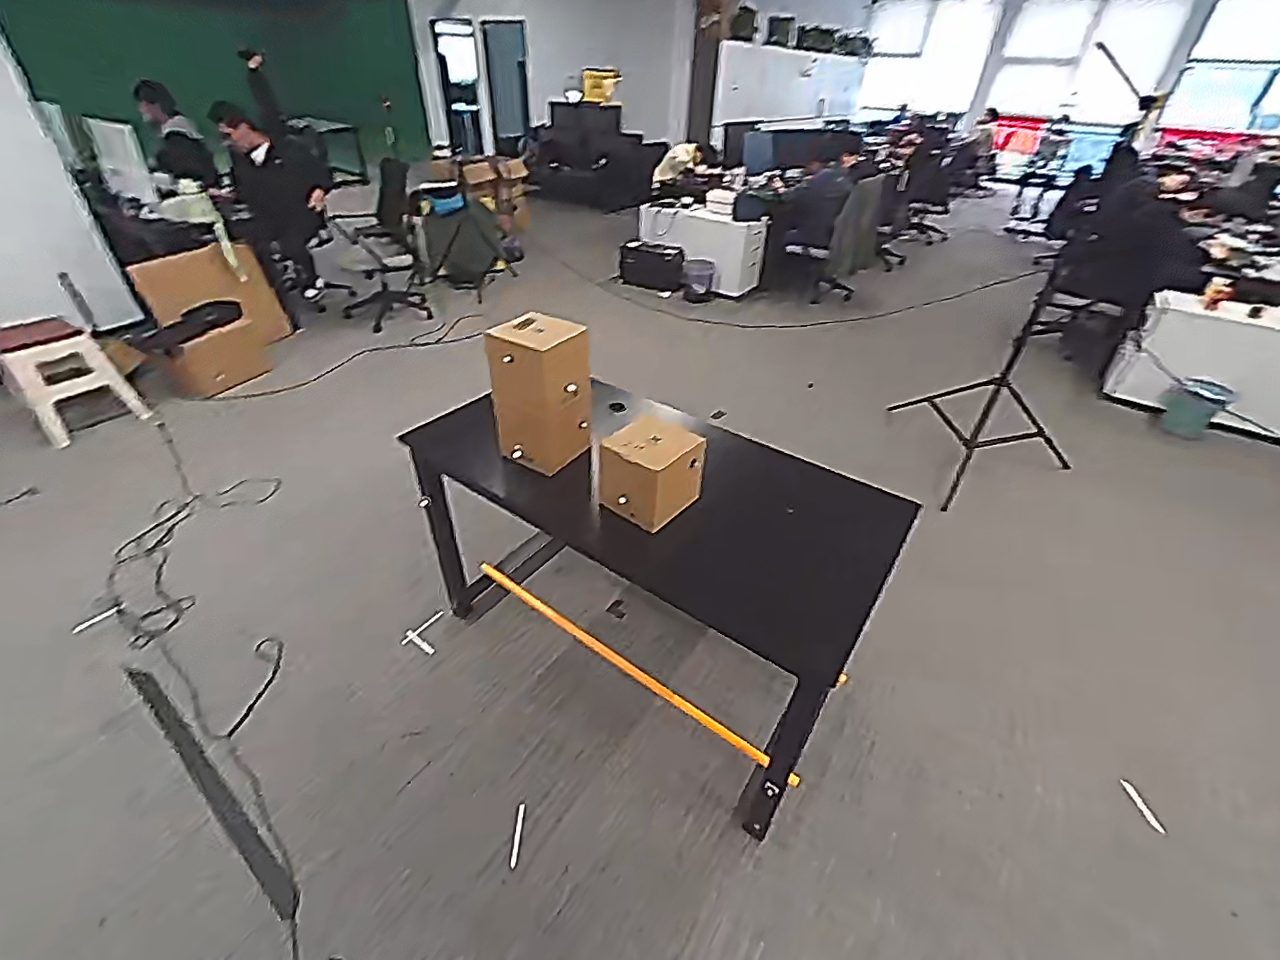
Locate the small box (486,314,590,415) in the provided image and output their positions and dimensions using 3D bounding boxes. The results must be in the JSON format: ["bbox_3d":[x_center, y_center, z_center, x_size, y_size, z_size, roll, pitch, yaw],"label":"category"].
[{"bbox_3d":[-0.234,-0.271,1.271,0.179,0.176,0.168,22,41,23],"label":"small box"}]

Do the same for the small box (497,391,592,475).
[{"bbox_3d":[-0.237,-0.140,1.371,0.168,0.176,0.179,21,42,24],"label":"small box"}]

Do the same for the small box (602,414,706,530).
[{"bbox_3d":[0.026,-0.020,1.226,0.168,0.176,0.179,28,44,30],"label":"small box"}]
